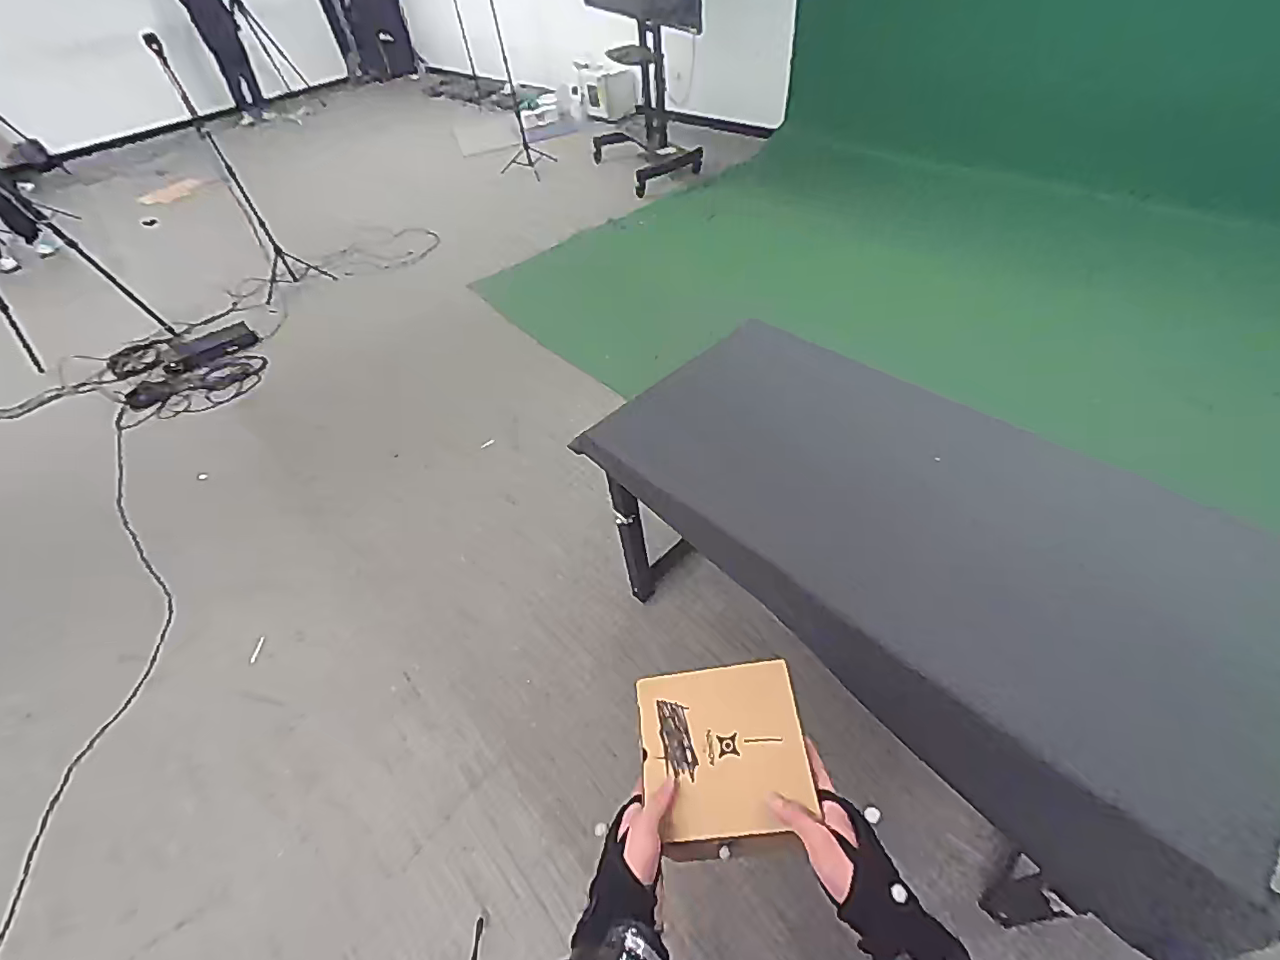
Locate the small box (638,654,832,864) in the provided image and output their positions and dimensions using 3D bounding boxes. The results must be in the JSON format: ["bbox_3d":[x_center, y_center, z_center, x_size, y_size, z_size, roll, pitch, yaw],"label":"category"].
[{"bbox_3d":[0.102,0.319,0.612,0.179,0.176,0.168,-9,48,4],"label":"small box"}]
